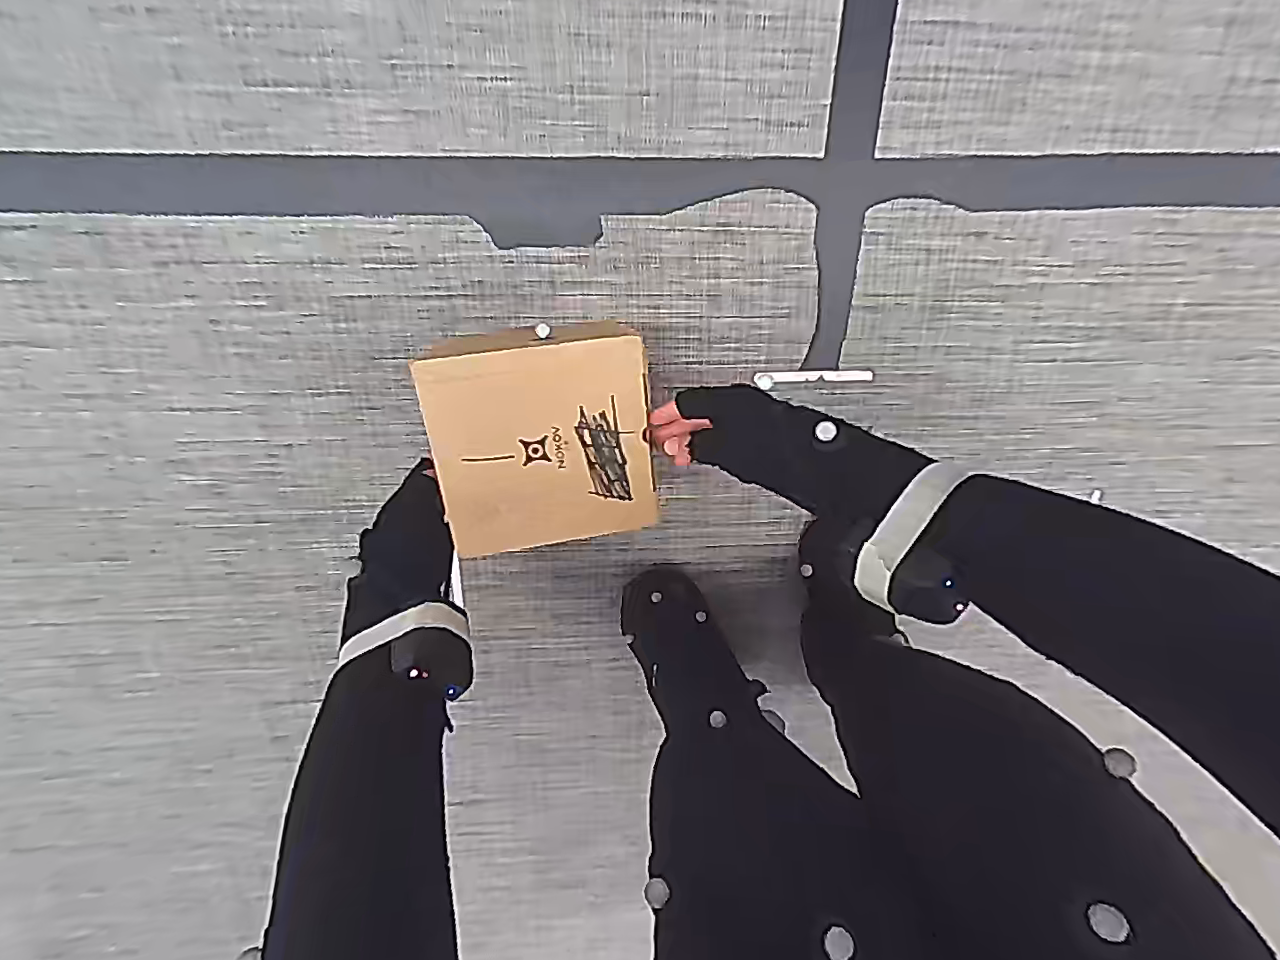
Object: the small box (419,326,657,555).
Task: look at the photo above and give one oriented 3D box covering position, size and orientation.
[{"bbox_3d":[-0.088,-0.050,0.516,0.179,0.176,0.168,-8,111,-6],"label":"small box"}]
